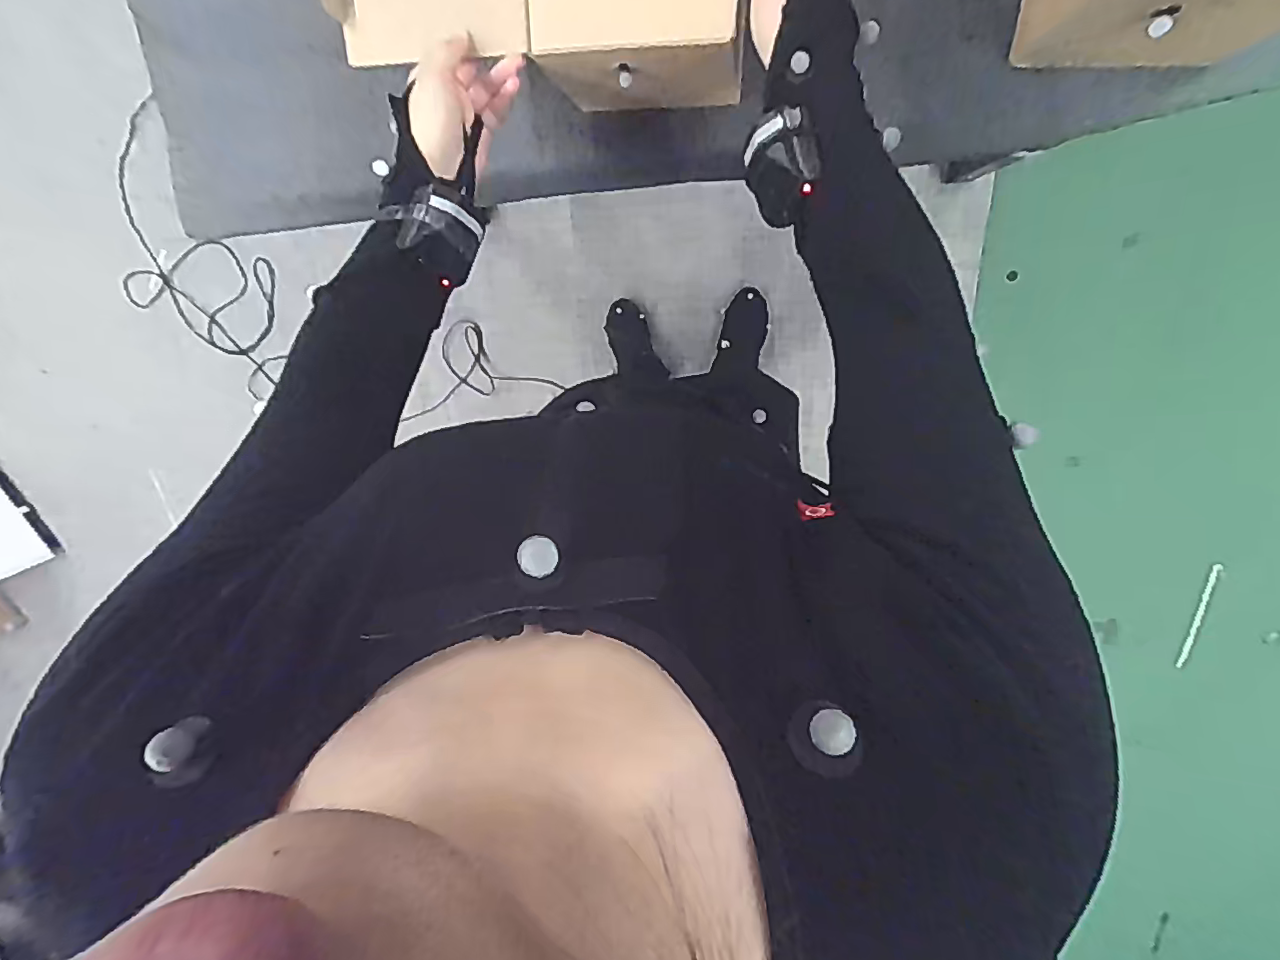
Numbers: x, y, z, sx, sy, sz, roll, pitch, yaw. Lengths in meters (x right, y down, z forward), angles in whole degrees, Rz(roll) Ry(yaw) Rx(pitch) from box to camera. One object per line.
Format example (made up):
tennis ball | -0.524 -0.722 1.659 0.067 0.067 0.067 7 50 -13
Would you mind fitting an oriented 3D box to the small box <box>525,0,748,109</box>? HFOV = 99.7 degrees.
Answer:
small box | 0.007 -0.451 0.486 0.179 0.176 0.168 5 112 10
